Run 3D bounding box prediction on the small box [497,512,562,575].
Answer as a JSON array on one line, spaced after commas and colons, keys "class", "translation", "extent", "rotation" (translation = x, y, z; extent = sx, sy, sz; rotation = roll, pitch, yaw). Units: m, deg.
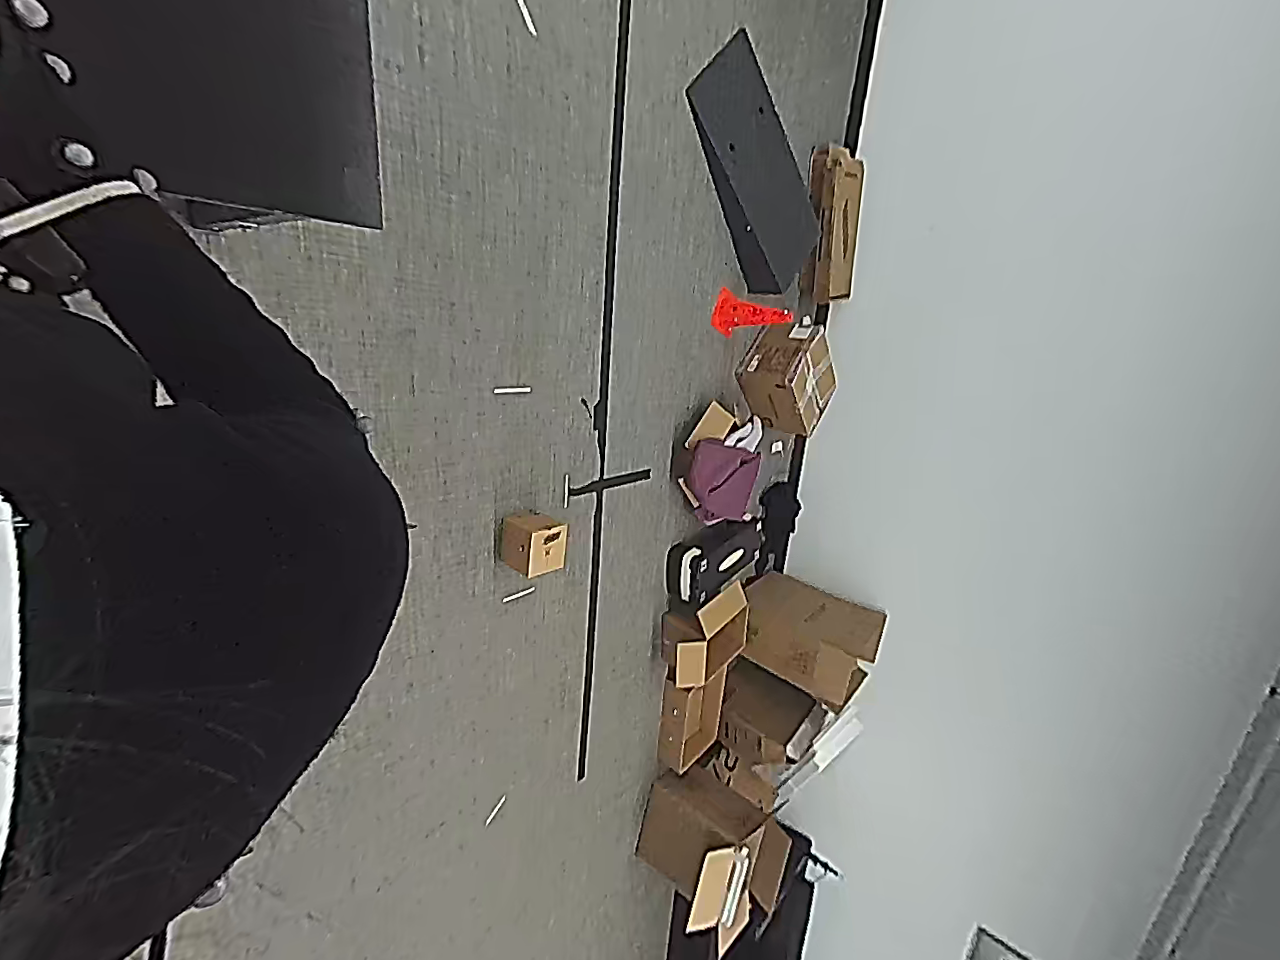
[{"class": "small box", "translation": [-0.406, 0.223, 1.981], "extent": [0.168, 0.176, 0.179], "rotation": [-10, 114, -49]}]
